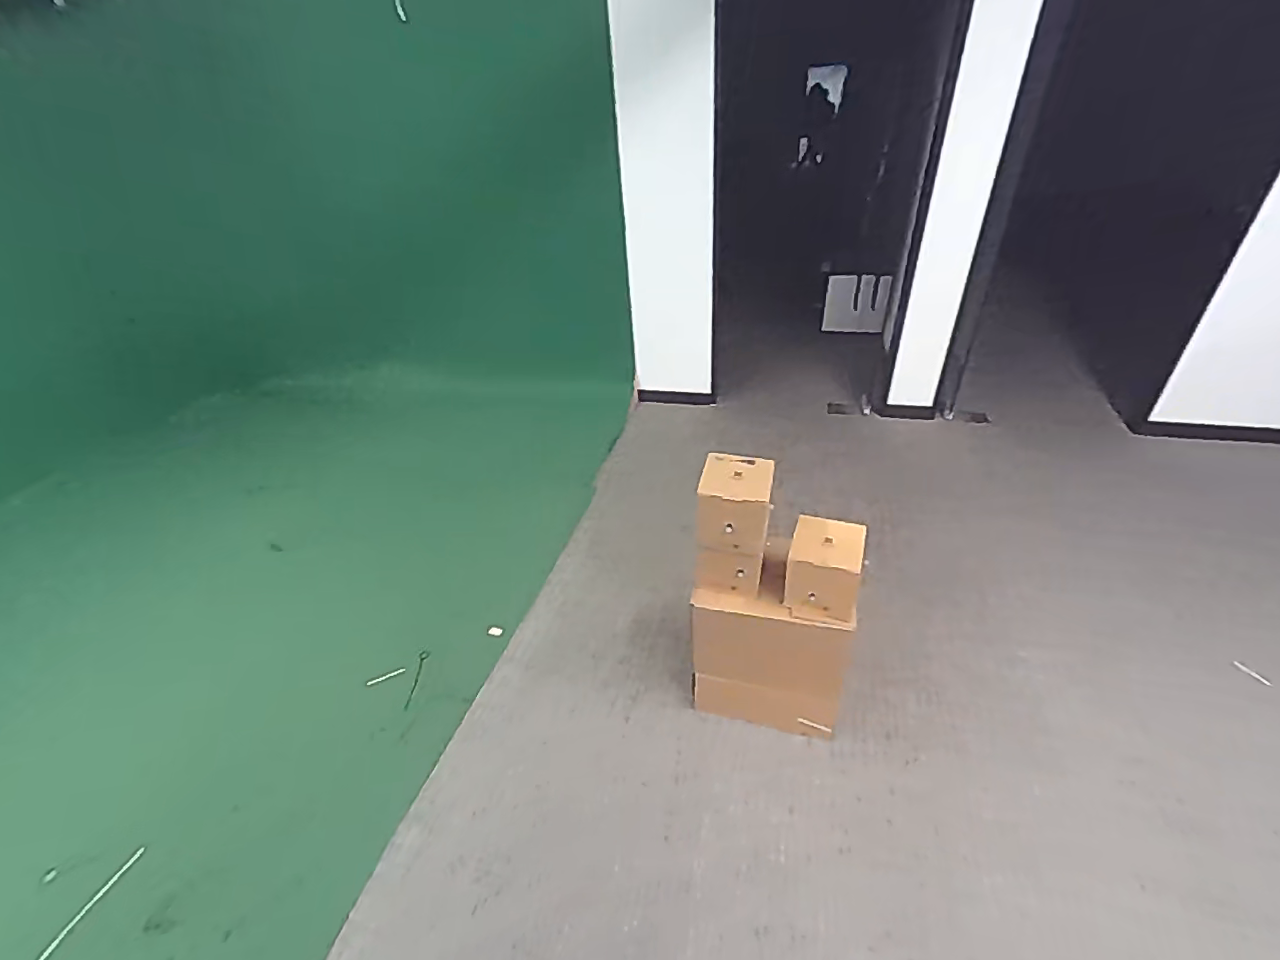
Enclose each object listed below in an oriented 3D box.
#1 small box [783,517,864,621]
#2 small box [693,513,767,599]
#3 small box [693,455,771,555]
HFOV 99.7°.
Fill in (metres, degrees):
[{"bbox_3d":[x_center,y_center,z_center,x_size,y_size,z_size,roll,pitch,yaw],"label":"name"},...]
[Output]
[{"bbox_3d":[0.459,0.221,1.364,0.168,0.176,0.179,9,37,21],"label":"small box"},{"bbox_3d":[0.240,0.190,1.438,0.168,0.176,0.179,9,37,15],"label":"small box"},{"bbox_3d":[0.226,0.063,1.334,0.168,0.176,0.179,8,38,13],"label":"small box"}]
